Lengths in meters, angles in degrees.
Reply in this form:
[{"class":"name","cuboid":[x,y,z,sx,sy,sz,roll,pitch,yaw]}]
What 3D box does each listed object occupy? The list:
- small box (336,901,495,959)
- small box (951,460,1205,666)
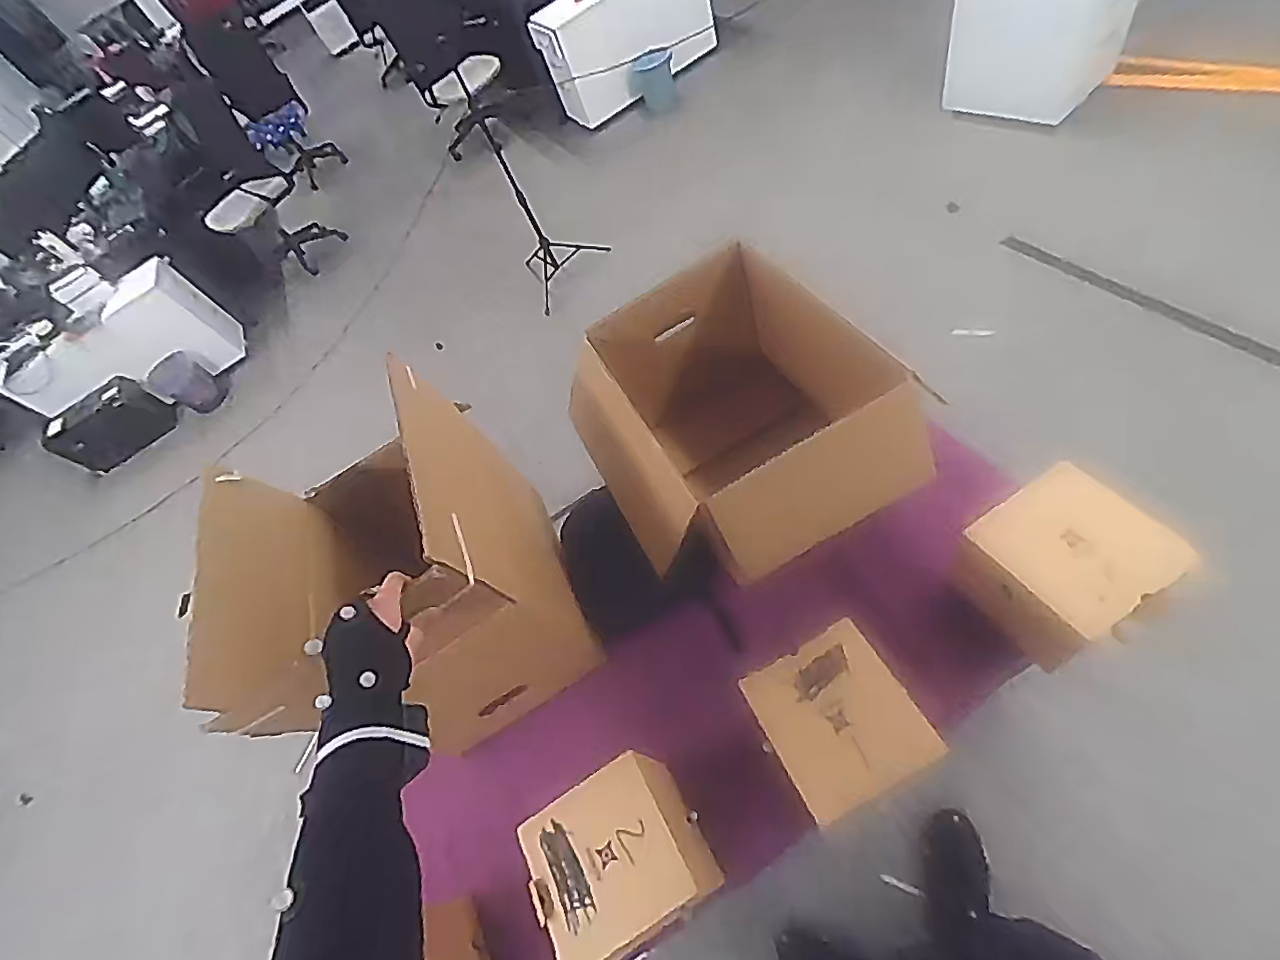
[{"class":"small box","cuboid":[-0.298,0.679,0.686,0.179,0.176,0.168,-36,53,-4]},{"class":"small box","cuboid":[0.543,0.113,0.707,0.168,0.176,0.179,-35,53,-1]}]
